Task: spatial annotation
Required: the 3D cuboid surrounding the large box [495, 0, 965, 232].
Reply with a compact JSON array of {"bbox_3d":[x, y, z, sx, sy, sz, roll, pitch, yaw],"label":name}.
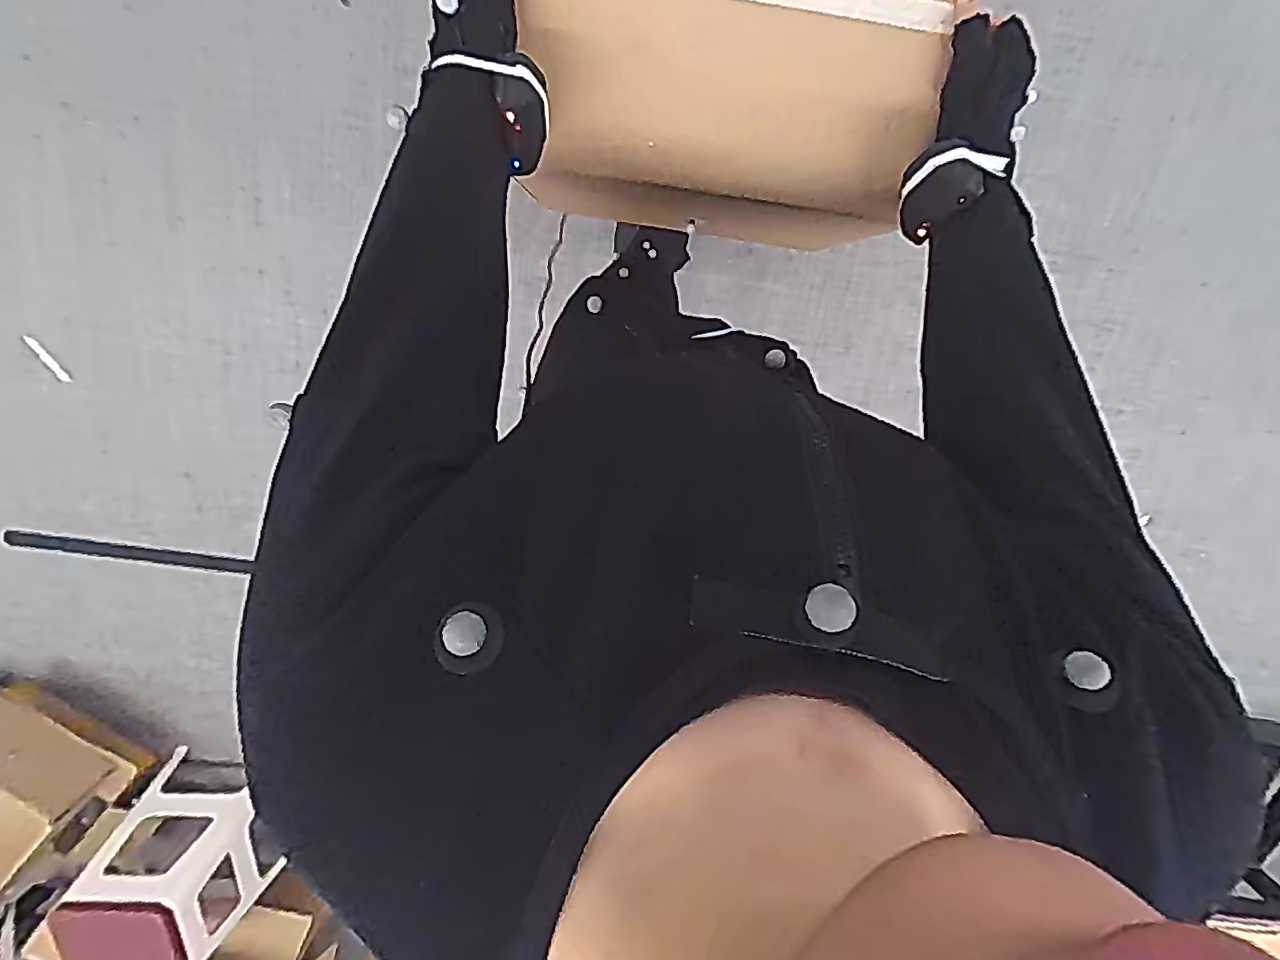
[{"bbox_3d":[0.085,-0.479,0.599,0.408,0.320,0.320,8,108,-2],"label":"large box"}]
